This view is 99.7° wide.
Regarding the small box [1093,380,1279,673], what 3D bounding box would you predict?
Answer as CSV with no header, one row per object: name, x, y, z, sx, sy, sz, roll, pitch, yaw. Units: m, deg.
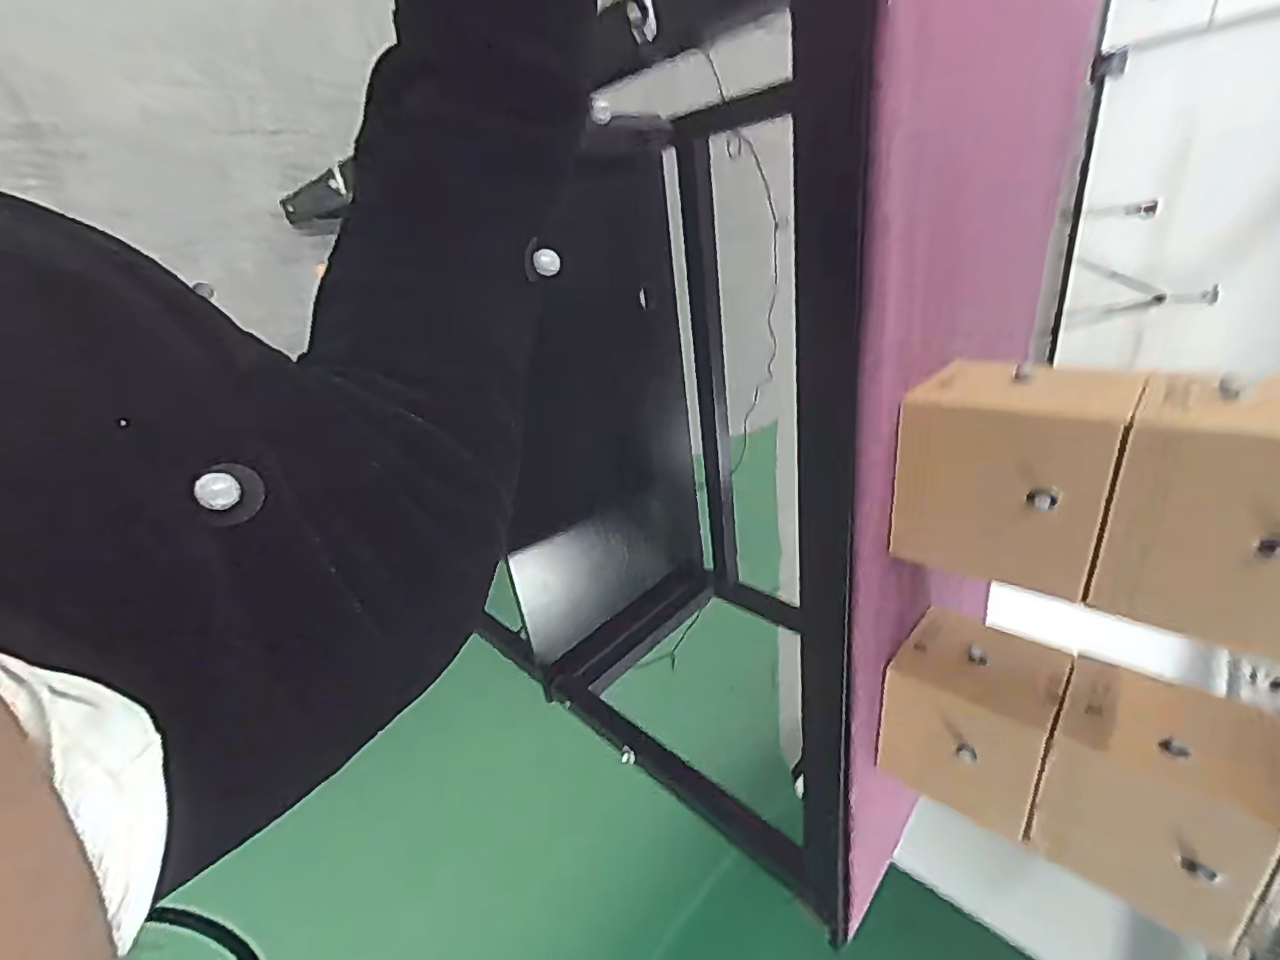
small box,0.482,0.029,0.421,0.168,0.176,0.179,-26,119,-38

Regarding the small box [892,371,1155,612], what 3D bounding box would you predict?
small box,0.367,-0.007,0.534,0.168,0.176,0.179,-26,120,-38

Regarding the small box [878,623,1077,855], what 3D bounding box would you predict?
small box,0.417,0.303,0.680,0.168,0.176,0.179,-24,118,-38

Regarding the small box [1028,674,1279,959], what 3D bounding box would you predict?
small box,0.531,0.333,0.567,0.168,0.176,0.179,-23,118,-39
